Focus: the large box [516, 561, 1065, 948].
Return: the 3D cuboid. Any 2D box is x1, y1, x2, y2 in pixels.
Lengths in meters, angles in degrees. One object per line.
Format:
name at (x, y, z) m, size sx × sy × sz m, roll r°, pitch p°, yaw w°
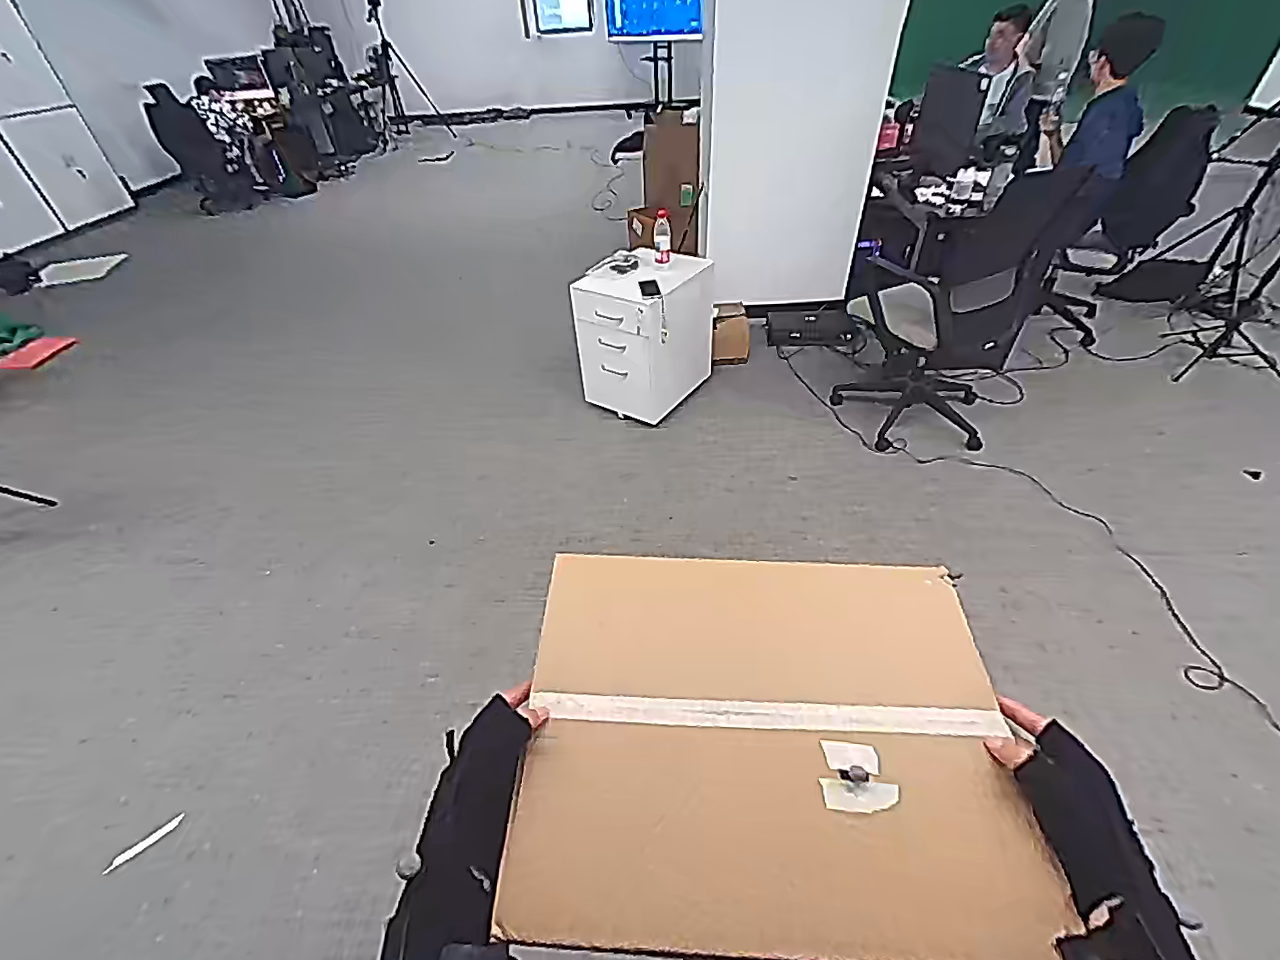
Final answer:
large box at (0.109, 0.305, 0.595) m, size 0.408 × 0.320 × 0.320 m, roll 1°, pitch 50°, yaw 2°
